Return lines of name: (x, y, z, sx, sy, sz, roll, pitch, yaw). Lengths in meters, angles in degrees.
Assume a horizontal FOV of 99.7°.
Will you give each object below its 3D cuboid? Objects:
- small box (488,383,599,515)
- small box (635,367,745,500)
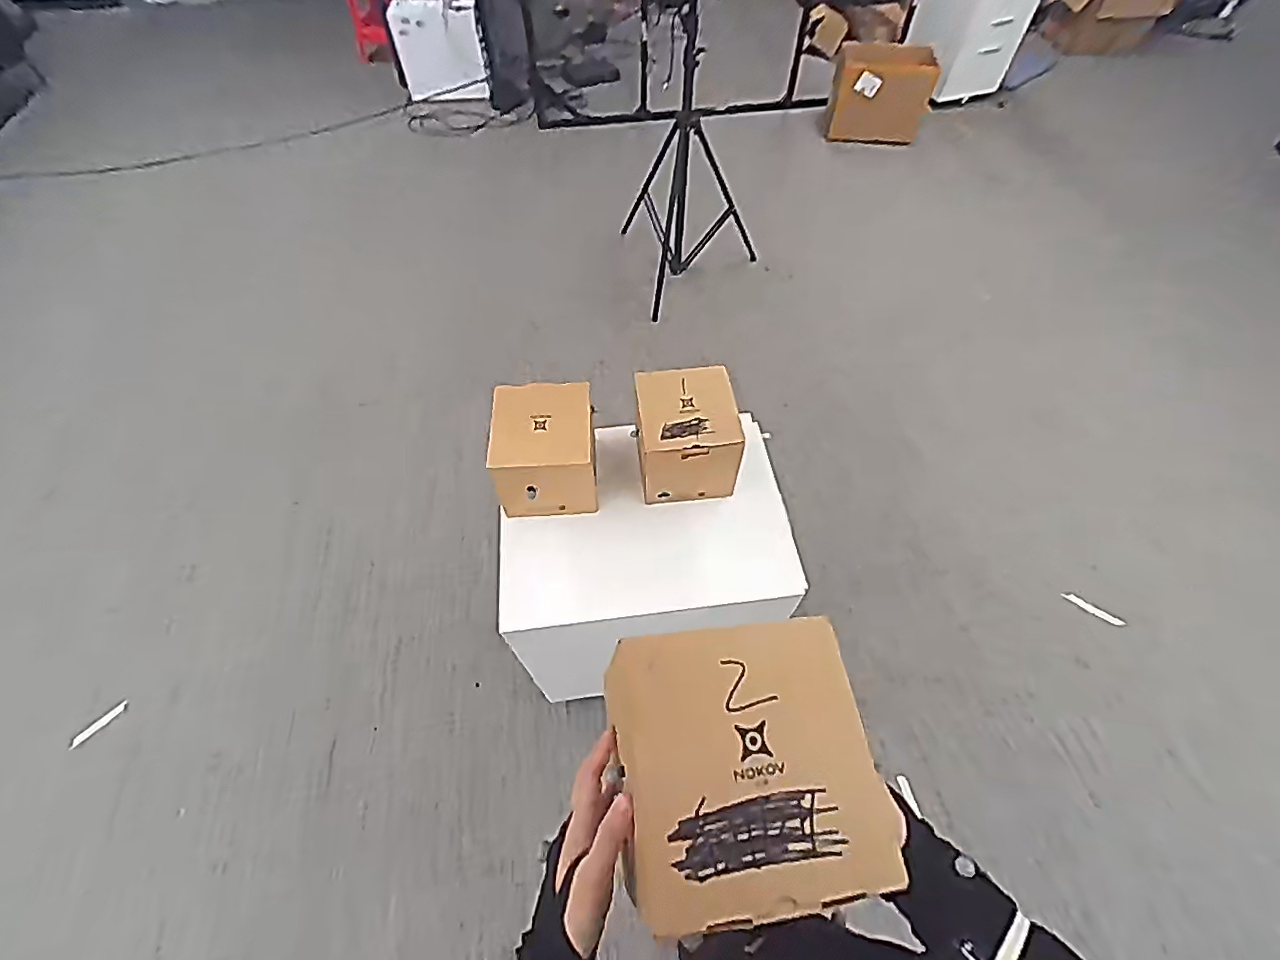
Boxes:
small box: (-0.162, -0.047, 0.958, 0.168, 0.176, 0.179, -3, 57, -2)
small box: (0.082, -0.076, 0.973, 0.168, 0.176, 0.179, -6, 57, -3)
